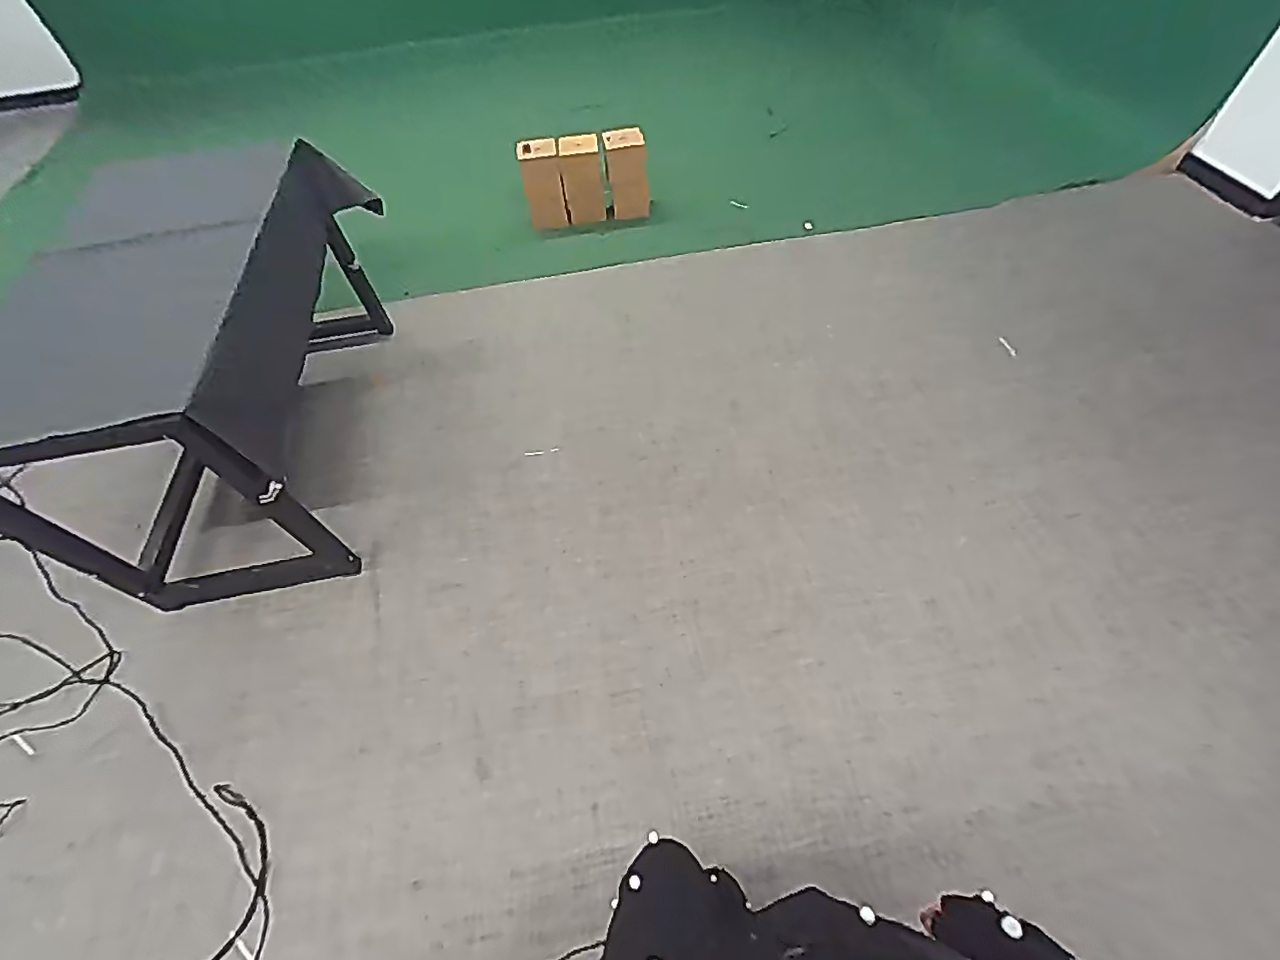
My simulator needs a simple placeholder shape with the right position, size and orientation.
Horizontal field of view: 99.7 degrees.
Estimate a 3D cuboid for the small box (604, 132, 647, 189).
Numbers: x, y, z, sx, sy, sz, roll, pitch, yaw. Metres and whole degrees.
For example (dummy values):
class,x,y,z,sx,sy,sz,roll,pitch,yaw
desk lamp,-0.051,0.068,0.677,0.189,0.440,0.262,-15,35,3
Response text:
class,x,y,z,sx,sy,sz,roll,pitch,yaw
small box,-0.067,-1.481,2.506,0.179,0.176,0.168,-9,55,-4
